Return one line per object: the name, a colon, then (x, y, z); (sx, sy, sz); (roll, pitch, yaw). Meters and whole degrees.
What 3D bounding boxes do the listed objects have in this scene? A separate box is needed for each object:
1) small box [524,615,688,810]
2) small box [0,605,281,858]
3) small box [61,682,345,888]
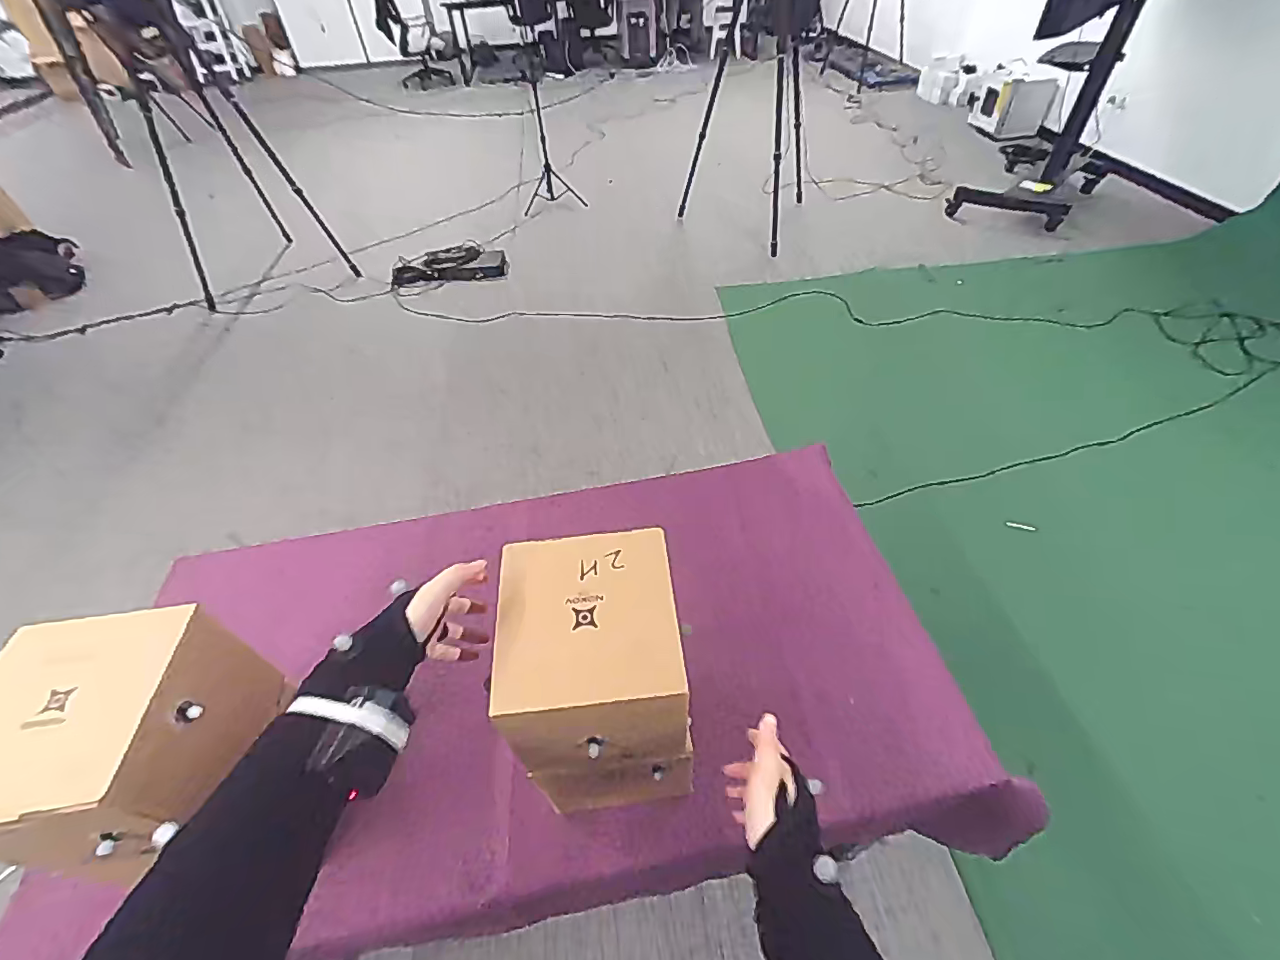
small box: (-0.038, 0.292, 0.674); (0.179, 0.176, 0.168); (-7, 47, -3)
small box: (-0.492, 0.248, 0.525); (0.168, 0.176, 0.179); (-7, 47, -2)
small box: (-0.484, 0.362, 0.641); (0.179, 0.176, 0.168); (-8, 47, -3)
